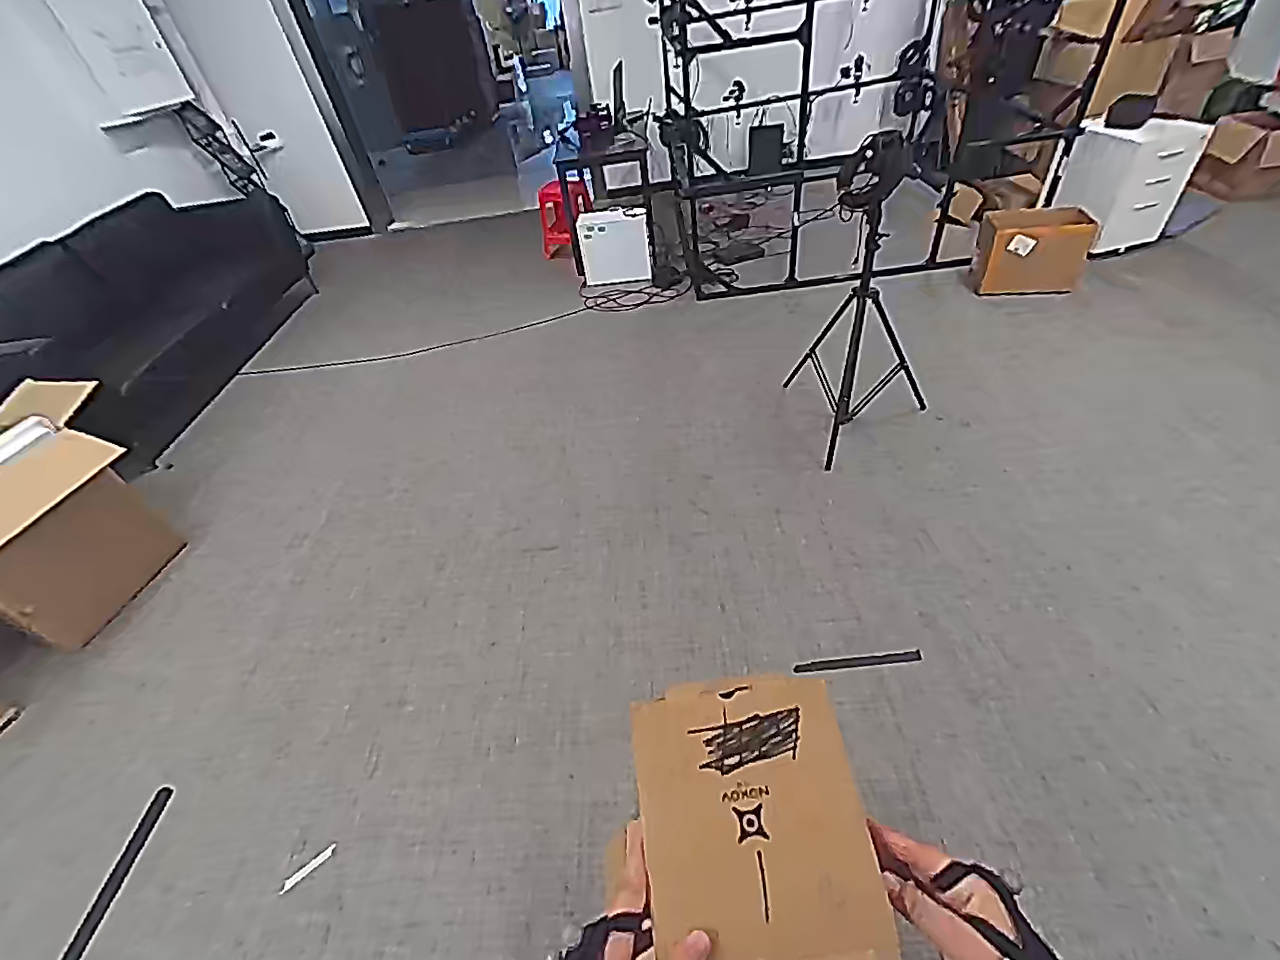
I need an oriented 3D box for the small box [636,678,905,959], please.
[{"bbox_3d":[0.090,0.288,0.464,0.168,0.176,0.179,-8,56,1],"label":"small box"}]
